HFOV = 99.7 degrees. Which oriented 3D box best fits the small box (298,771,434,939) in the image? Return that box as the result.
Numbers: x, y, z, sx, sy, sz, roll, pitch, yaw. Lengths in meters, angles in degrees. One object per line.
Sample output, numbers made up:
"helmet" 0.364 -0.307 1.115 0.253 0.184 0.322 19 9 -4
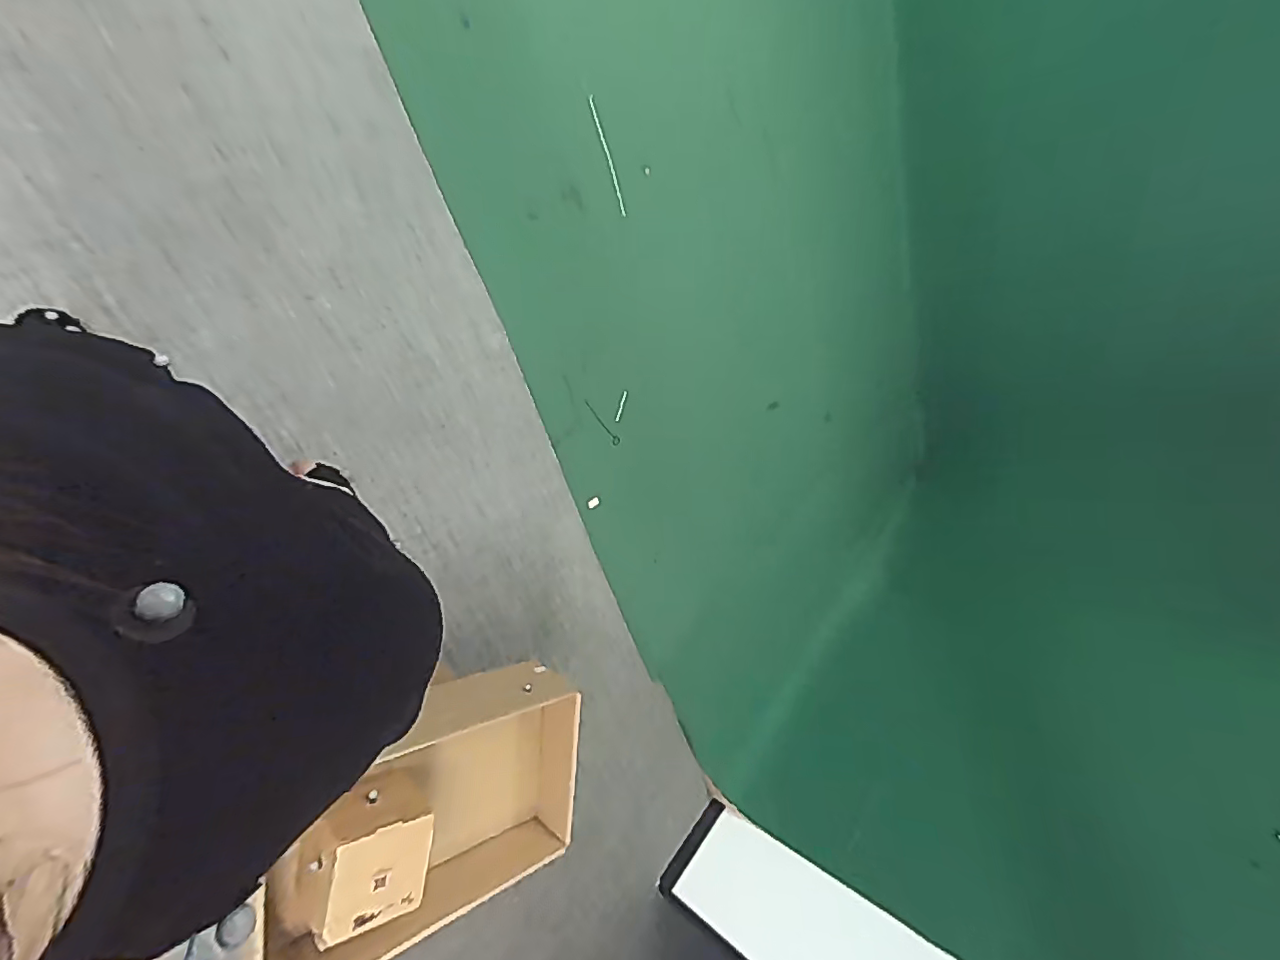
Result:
"small box" -0.502 0.661 0.987 0.168 0.176 0.179 10 89 -45
